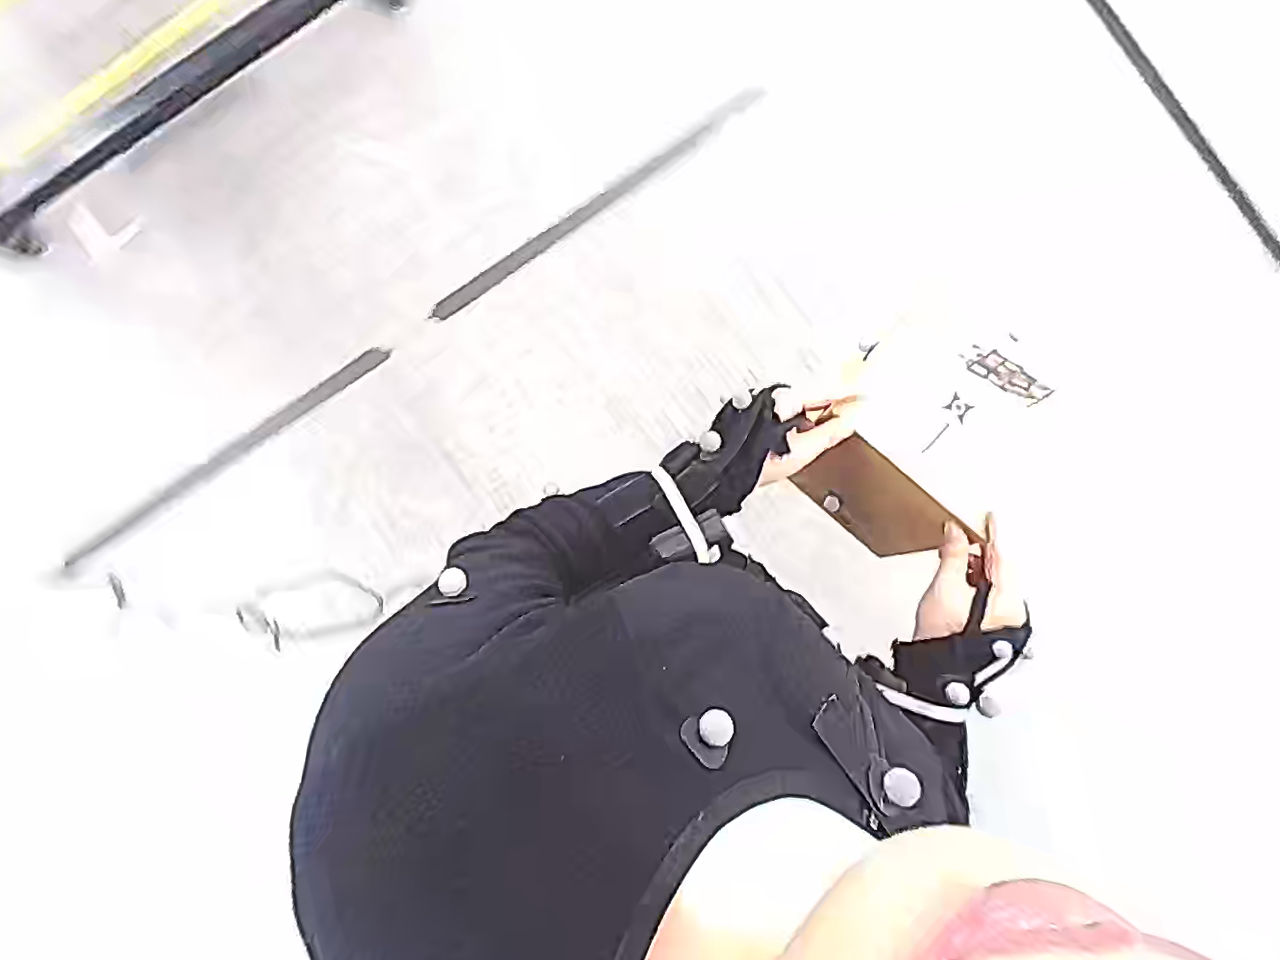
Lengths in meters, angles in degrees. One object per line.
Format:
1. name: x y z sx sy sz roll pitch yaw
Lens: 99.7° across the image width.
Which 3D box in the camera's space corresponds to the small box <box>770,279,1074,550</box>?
1. small box: 0.257 -0.050 0.535 0.168 0.176 0.179 41 77 4
